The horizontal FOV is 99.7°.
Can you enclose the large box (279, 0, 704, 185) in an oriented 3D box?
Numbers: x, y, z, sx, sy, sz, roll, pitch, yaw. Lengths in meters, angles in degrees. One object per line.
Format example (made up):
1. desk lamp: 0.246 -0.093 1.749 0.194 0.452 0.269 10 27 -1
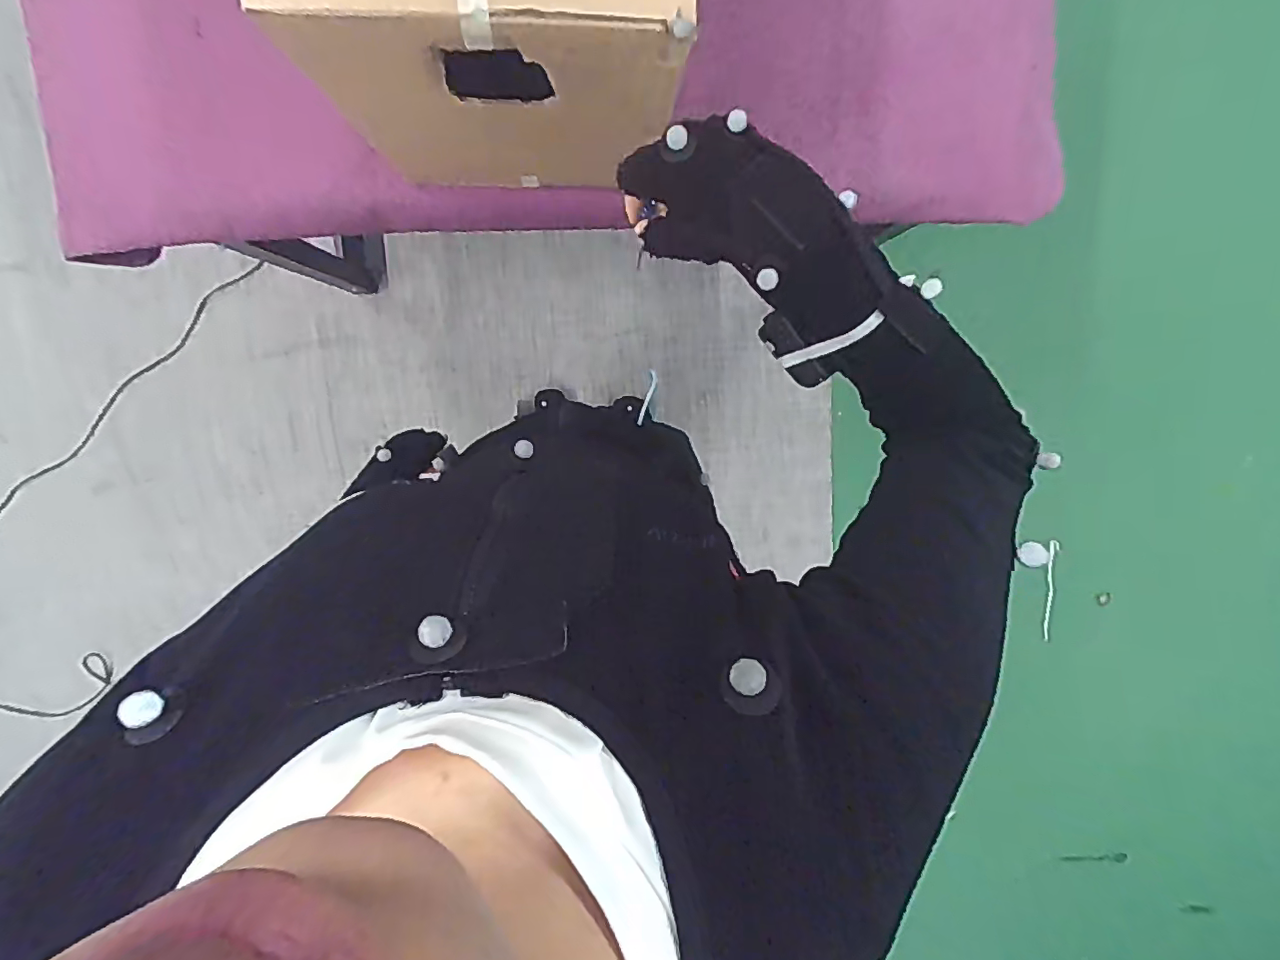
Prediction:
1. large box: -0.119 -0.550 0.509 0.320 0.320 0.408 -1 100 -4
